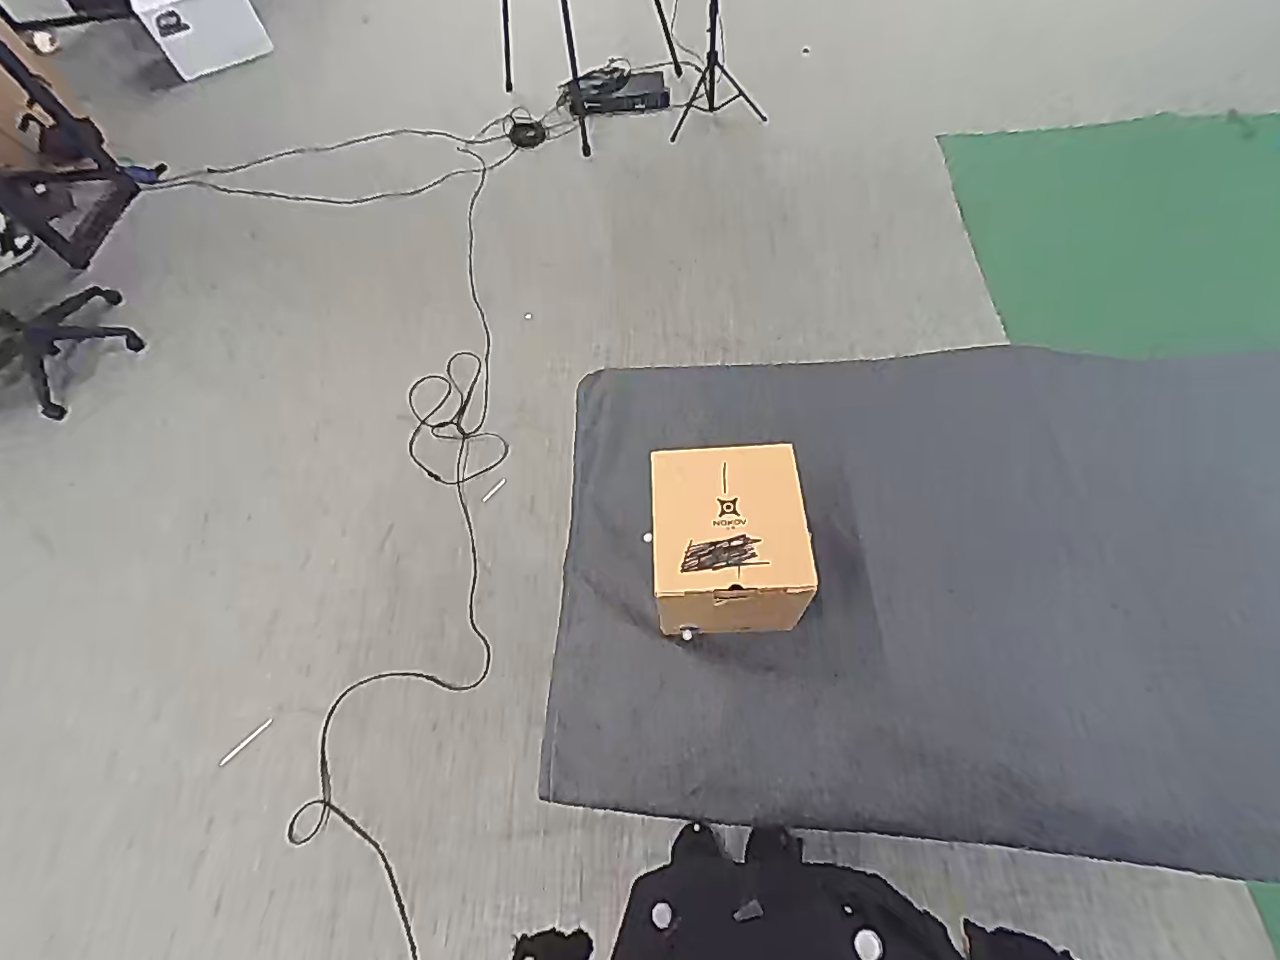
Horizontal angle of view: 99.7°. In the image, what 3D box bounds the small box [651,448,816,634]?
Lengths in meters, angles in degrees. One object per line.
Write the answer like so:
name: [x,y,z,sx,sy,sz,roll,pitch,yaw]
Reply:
small box: [0.101,0.082,0.649,0.168,0.176,0.179,-3,59,4]
